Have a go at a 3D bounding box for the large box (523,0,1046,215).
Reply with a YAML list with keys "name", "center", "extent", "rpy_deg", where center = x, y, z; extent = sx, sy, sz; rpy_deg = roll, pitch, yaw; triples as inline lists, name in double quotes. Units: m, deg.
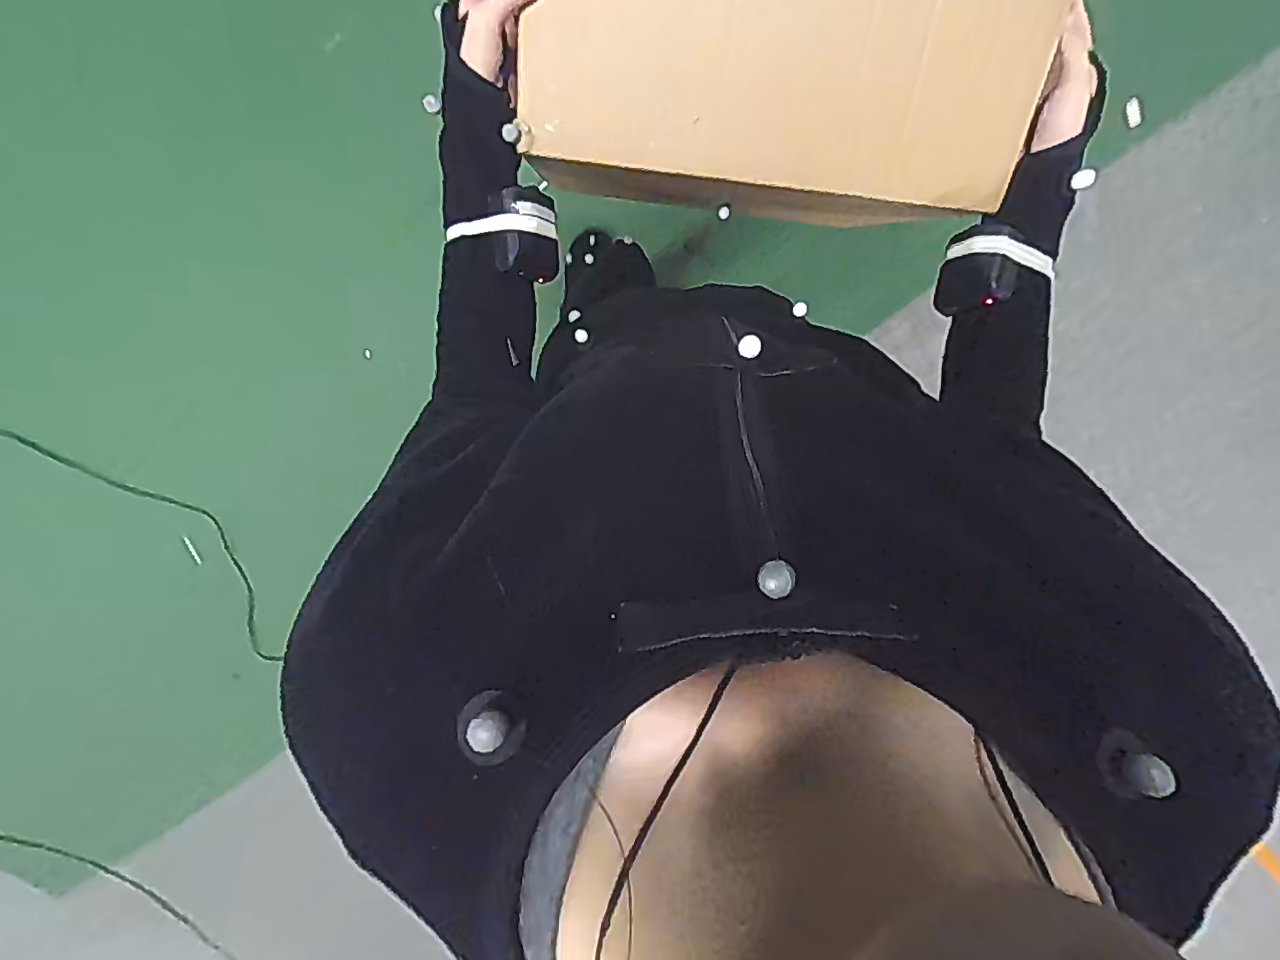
- name: "large box"
  center: [0.113, -0.453, 0.530]
  extent: [0.408, 0.320, 0.320]
  rpy_deg: [5, 112, -5]
